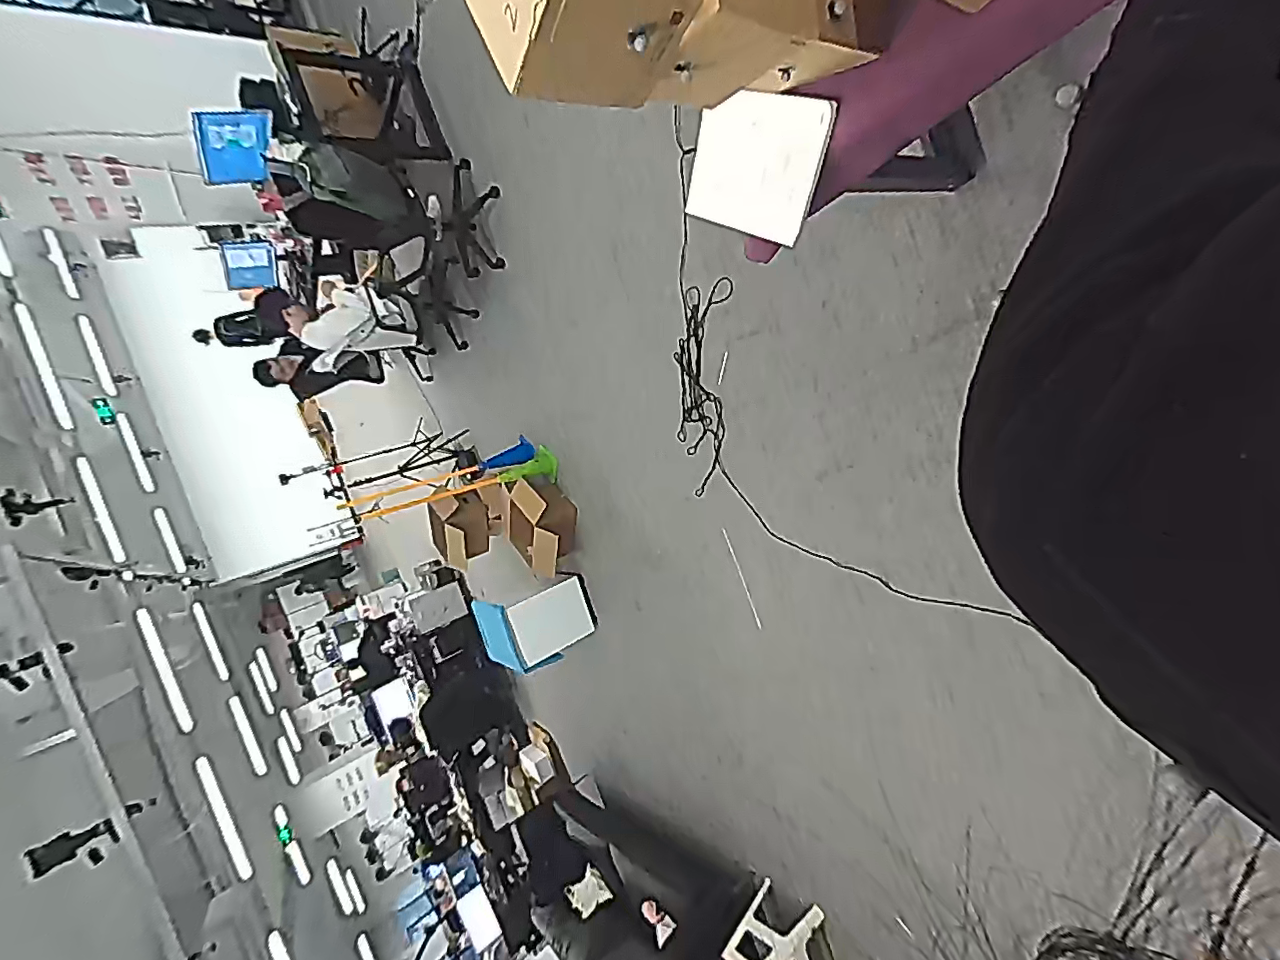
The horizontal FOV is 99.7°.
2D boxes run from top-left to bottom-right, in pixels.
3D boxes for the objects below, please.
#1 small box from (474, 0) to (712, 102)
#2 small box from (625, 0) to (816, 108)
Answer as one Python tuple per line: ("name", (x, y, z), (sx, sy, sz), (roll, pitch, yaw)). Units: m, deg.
("small box", (-0.052, -0.505, 0.523), (0.168, 0.176, 0.179), (-31, 82, 57))
("small box", (0.080, -0.552, 0.610), (0.179, 0.176, 0.168), (8, 113, 53))
